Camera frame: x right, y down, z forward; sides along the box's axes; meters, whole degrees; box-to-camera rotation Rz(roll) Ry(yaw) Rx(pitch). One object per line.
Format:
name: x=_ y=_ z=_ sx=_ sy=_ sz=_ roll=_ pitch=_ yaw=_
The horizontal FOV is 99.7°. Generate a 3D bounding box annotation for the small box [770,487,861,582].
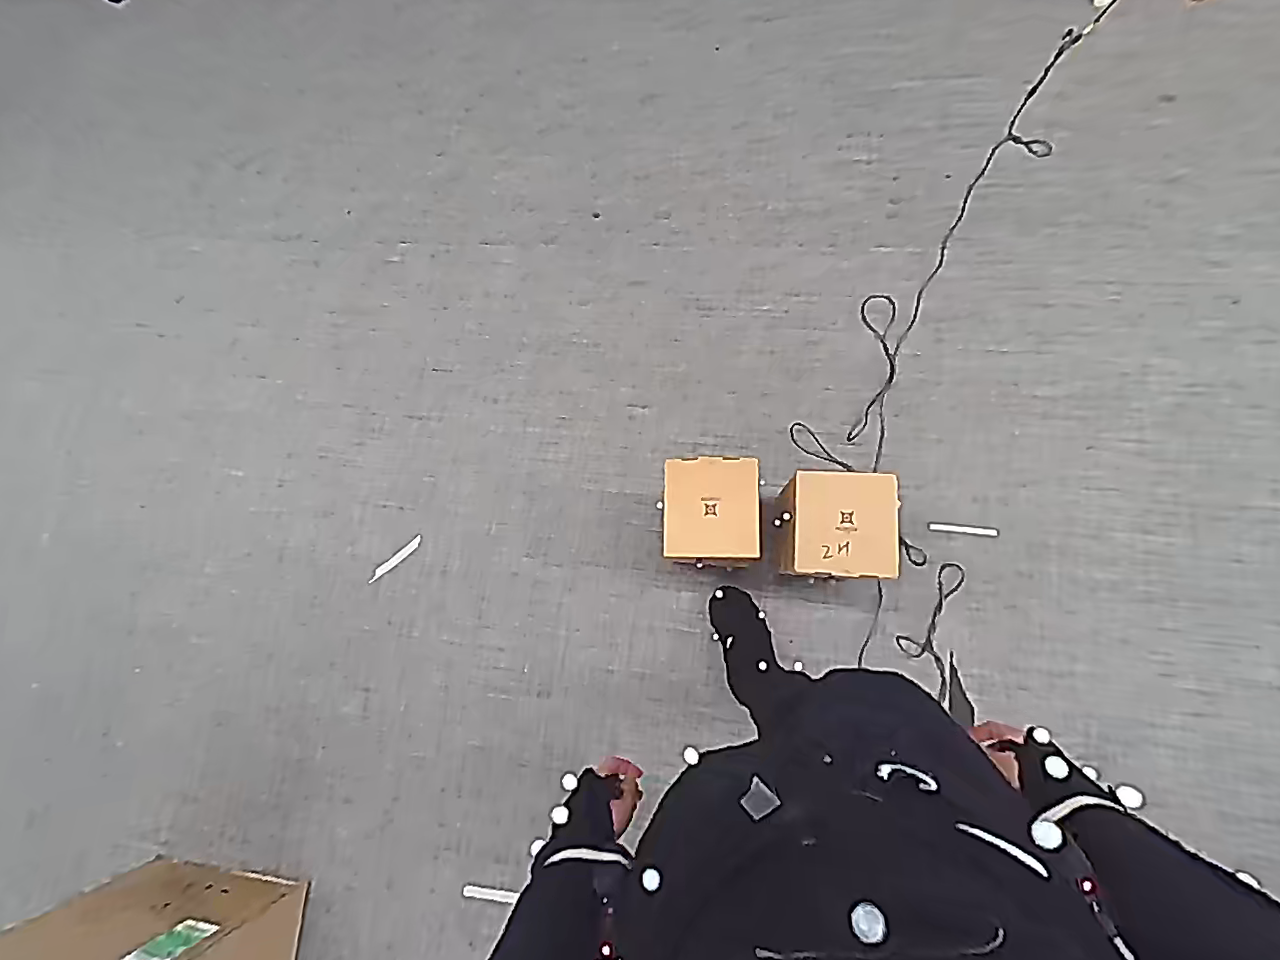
small box: x=0.370 y=0.119 z=1.141 sx=0.168 sy=0.176 sz=0.179 roll=4 pitch=81 yaw=9

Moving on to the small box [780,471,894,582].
small box: x=0.348 y=0.089 z=0.980 sx=0.168 sy=0.176 sz=0.179 roll=3 pitch=80 yaw=9

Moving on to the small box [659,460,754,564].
small box: x=0.129 y=0.066 z=1.018 sx=0.168 sy=0.176 sz=0.179 roll=-1 pitch=78 yaw=8
